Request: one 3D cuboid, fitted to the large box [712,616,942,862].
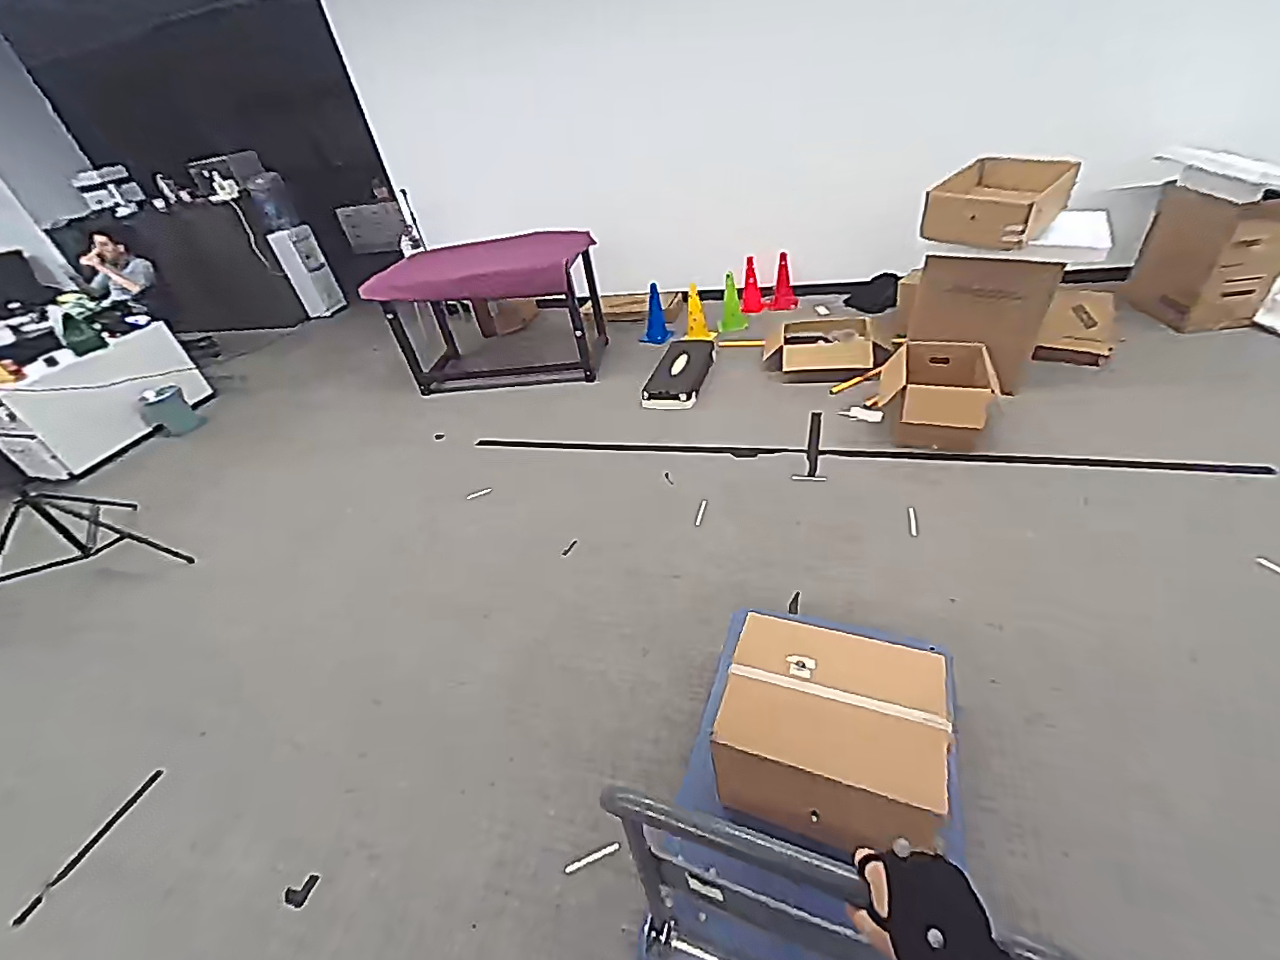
[{"bbox_3d":[0.401,0.545,1.170,0.408,0.320,0.320,6,40,23],"label":"large box"}]
